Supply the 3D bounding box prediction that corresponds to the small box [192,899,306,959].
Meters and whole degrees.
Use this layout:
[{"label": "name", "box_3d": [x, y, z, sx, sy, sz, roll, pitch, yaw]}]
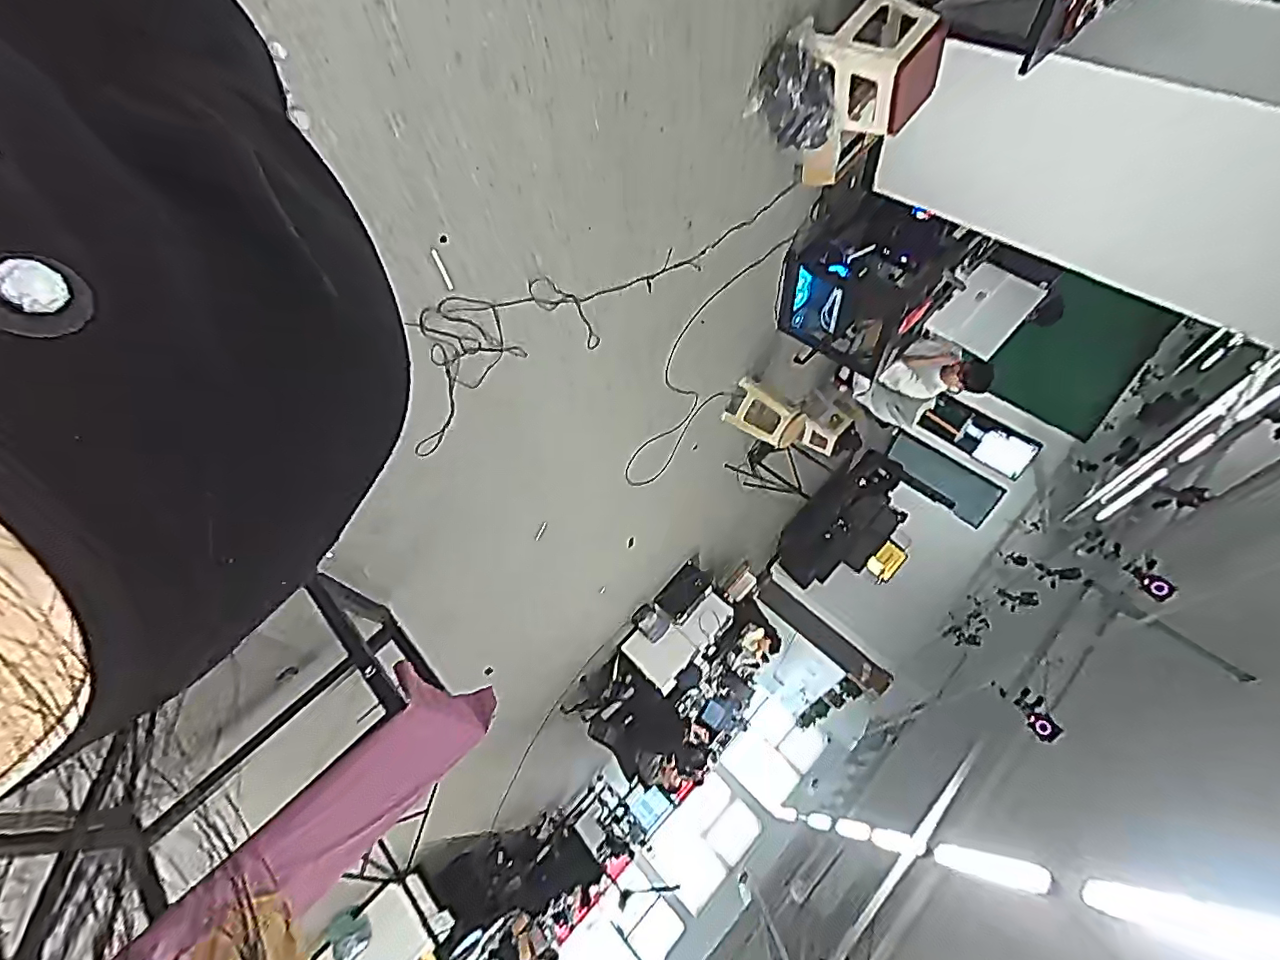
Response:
[{"label": "small box", "box_3d": [-1.094, 1.318, 1.515, 0.179, 0.176, 0.168, -41, 152, -18]}]
